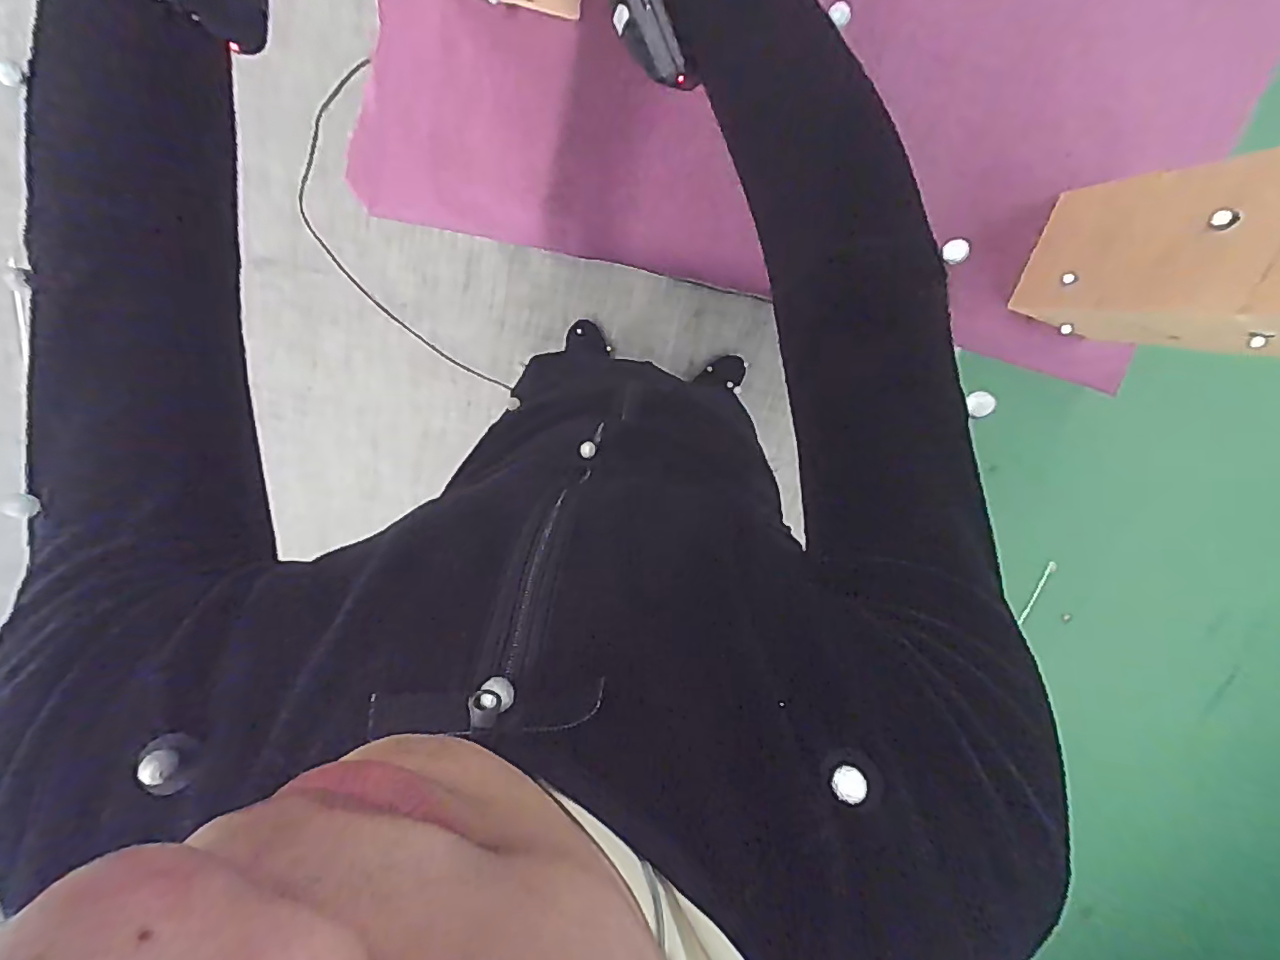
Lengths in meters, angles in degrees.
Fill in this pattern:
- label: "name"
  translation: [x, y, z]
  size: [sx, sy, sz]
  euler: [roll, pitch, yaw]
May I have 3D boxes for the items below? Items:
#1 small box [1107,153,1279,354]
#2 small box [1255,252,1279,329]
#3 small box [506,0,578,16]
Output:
- label: "small box"
  translation: [0.699, -0.253, 0.613]
  size: [0.168, 0.176, 0.179]
  euler: [15, 106, -9]
- label: "small box"
  translation: [0.713, -0.200, 0.457]
  size: [0.168, 0.176, 0.179]
  euler: [16, 107, -9]
- label: "small box"
  translation: [-0.138, -0.651, 0.573]
  size: [0.168, 0.176, 0.179]
  euler: [8, 110, -8]
